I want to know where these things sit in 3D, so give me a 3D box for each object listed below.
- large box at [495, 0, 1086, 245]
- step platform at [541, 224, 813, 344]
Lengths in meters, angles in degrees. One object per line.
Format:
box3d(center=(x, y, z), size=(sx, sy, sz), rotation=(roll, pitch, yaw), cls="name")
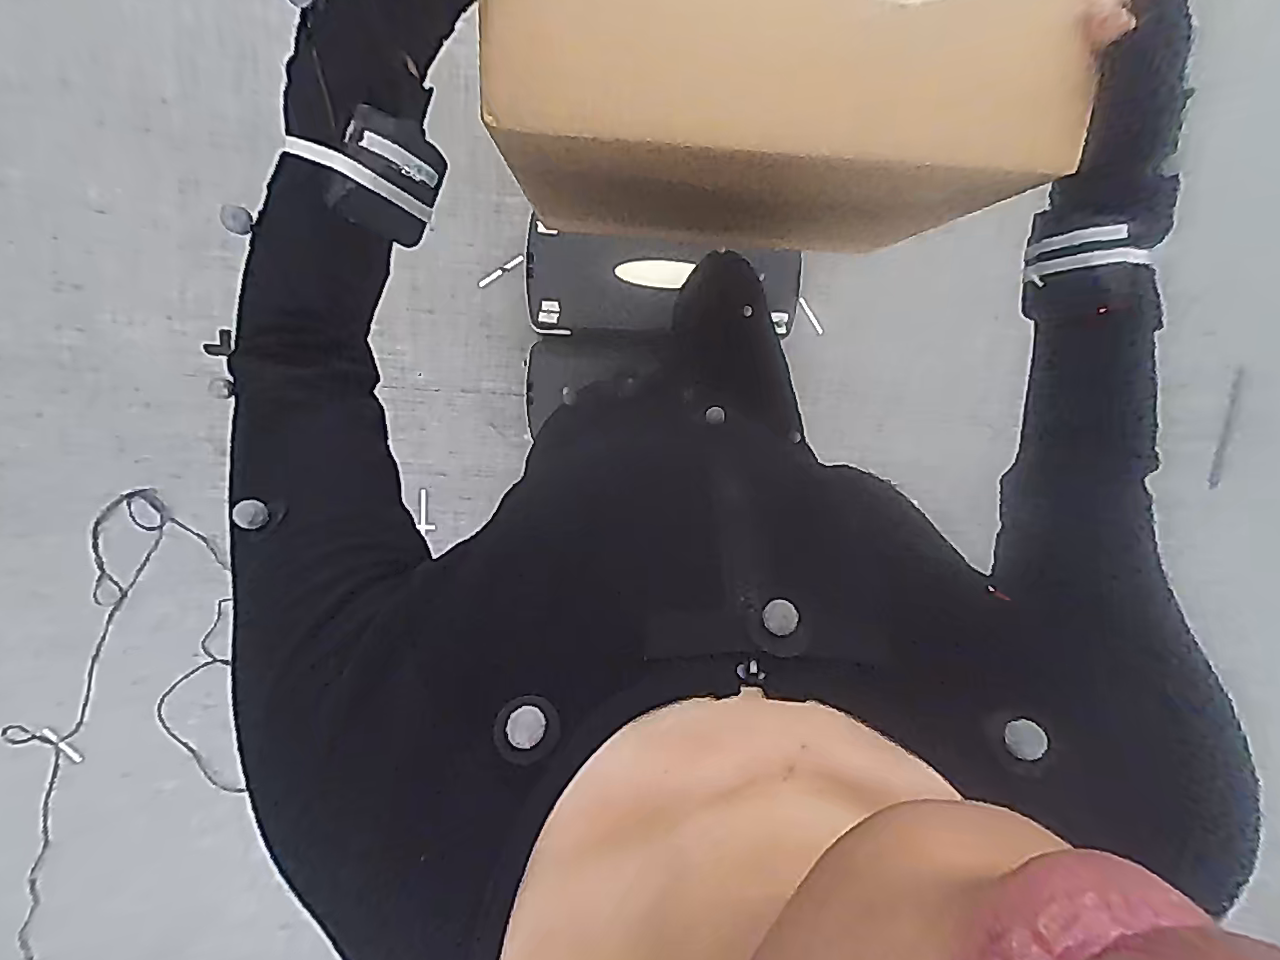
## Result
box3d(center=(0.096, -0.414, 0.487), size=(0.408, 0.320, 0.320), rotation=(2, 103, -4), cls="large box")
box3d(center=(0.090, -0.514, 1.393), size=(0.684, 0.204, 0.286), rotation=(1, 100, -6), cls="step platform")
